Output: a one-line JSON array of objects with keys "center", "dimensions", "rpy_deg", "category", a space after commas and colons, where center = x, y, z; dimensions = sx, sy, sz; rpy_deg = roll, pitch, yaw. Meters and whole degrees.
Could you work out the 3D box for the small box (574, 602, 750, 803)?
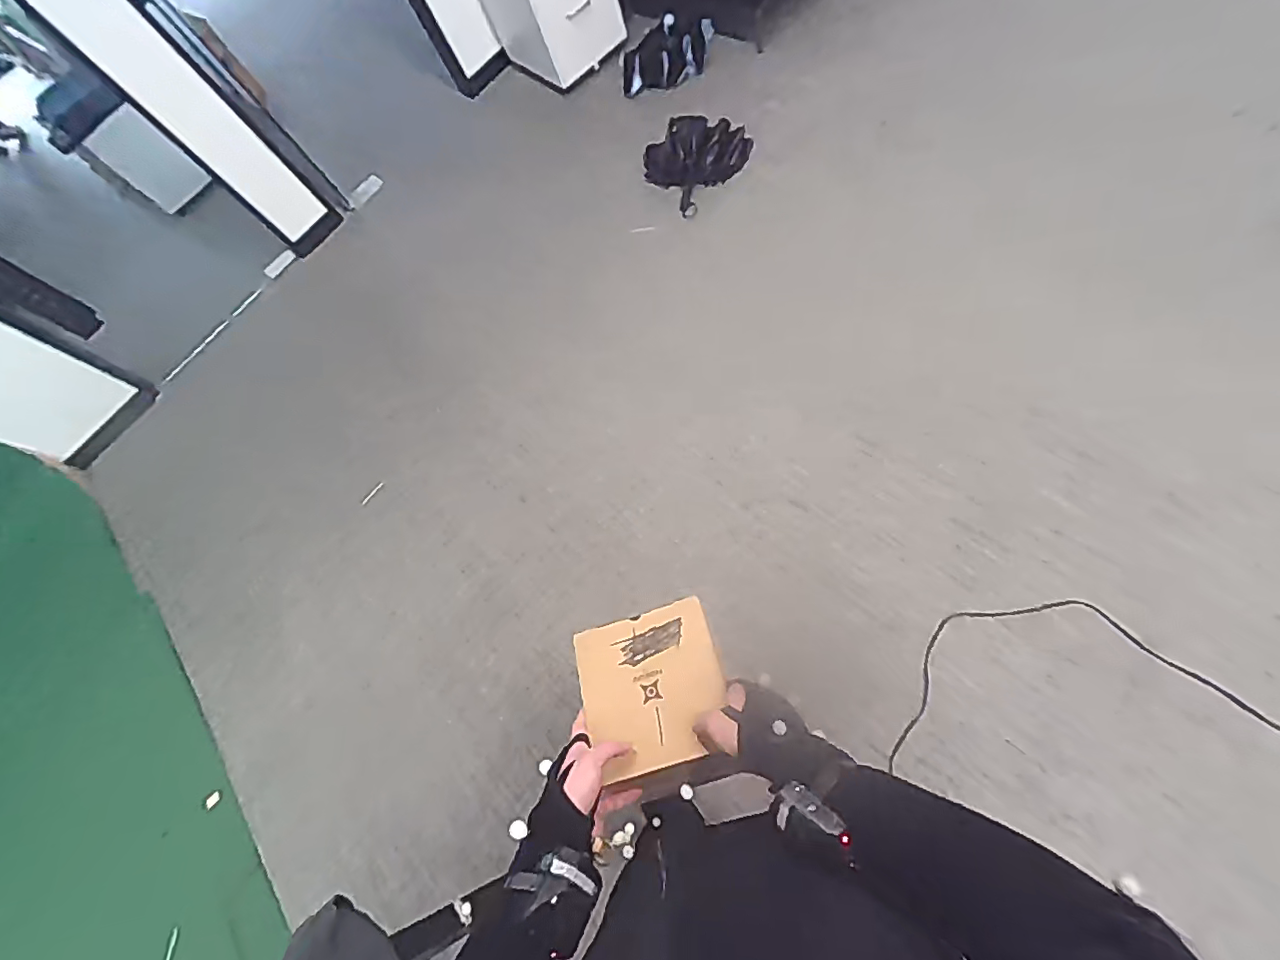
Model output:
[{"center": [0.030, 0.288, 0.689], "dimensions": [0.168, 0.176, 0.179], "rpy_deg": [-20, 51, 5], "category": "small box"}]
